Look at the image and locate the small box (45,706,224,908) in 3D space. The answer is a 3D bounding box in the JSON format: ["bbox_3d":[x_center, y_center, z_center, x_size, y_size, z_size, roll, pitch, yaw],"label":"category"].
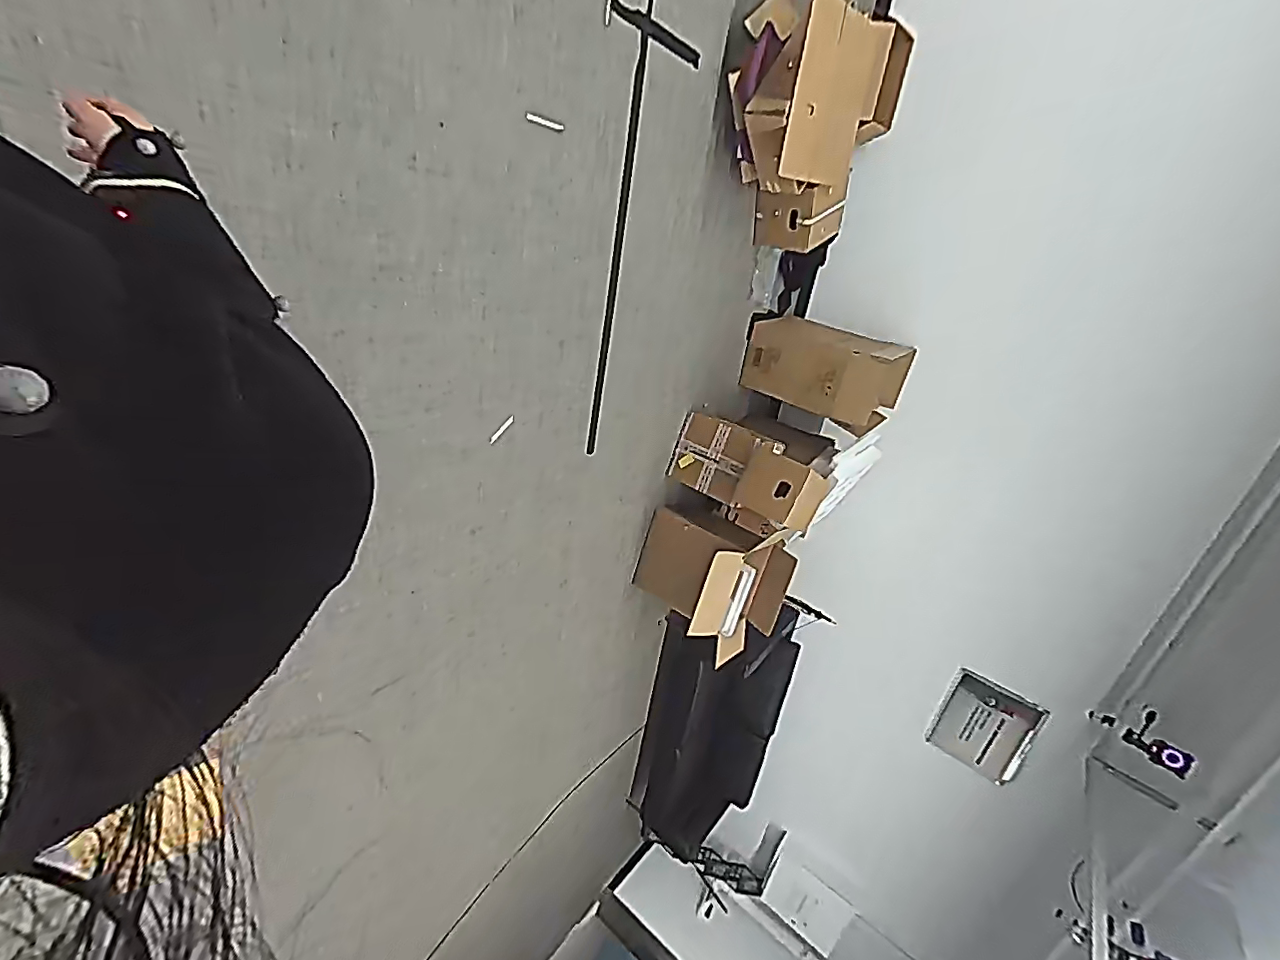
[{"bbox_3d":[-0.771,0.480,0.831,0.168,0.176,0.179,-14,123,-51],"label":"small box"}]
